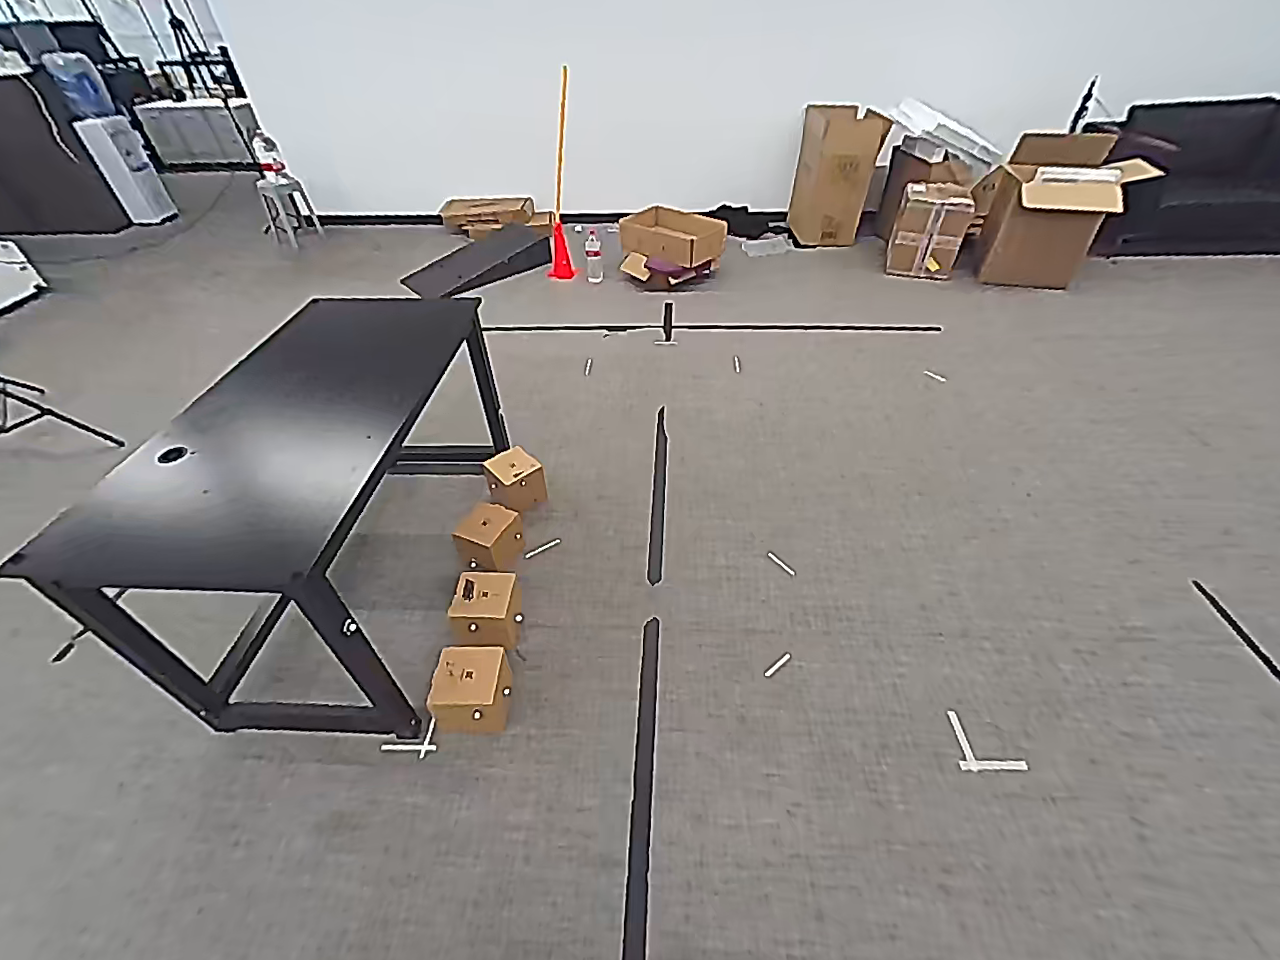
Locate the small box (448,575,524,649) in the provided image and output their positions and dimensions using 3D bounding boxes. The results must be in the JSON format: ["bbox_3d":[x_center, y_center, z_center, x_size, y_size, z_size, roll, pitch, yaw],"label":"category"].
[{"bbox_3d":[-0.477,0.416,1.701,0.179,0.176,0.168,1,43,1],"label":"small box"}]

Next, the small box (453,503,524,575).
[{"bbox_3d":[-0.529,0.217,1.922,0.168,0.176,0.179,15,46,19],"label":"small box"}]

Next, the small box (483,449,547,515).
[{"bbox_3d":[-0.492,0.011,2.141,0.168,0.176,0.179,-34,51,-30],"label":"small box"}]
